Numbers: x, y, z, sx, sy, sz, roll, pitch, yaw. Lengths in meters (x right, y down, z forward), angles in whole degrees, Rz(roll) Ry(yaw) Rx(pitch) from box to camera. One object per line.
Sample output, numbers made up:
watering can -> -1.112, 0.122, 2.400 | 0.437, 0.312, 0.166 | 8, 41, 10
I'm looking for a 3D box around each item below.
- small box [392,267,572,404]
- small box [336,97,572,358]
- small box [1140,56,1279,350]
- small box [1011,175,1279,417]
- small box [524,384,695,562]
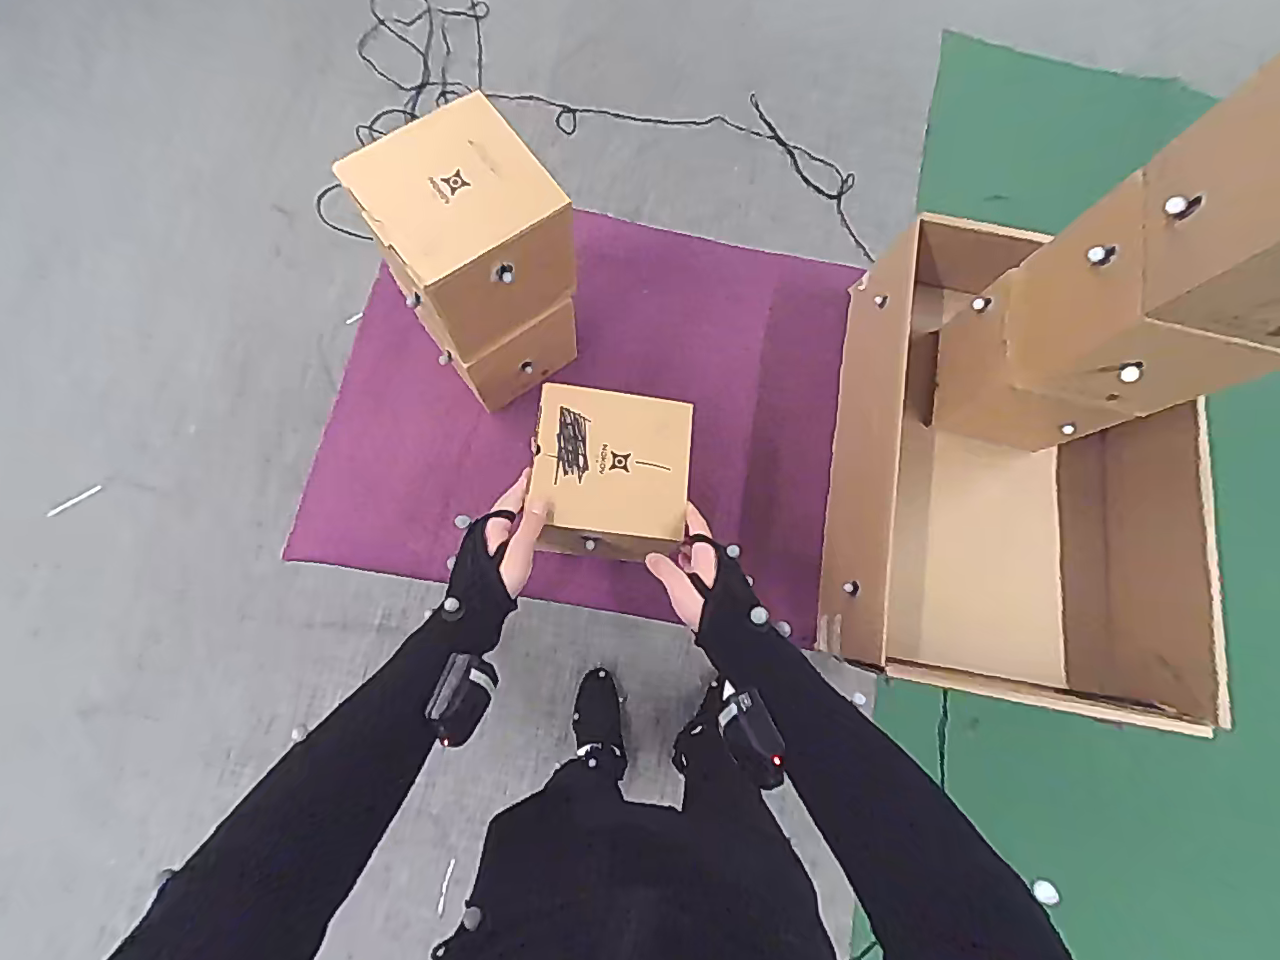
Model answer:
small box -> -0.209, -0.229, 0.770 | 0.168, 0.176, 0.179 | -36, 82, -12
small box -> -0.190, -0.270, 0.614 | 0.179, 0.176, 0.168 | -36, 83, -12
small box -> 0.559, -0.226, 0.437 | 0.168, 0.176, 0.179 | 13, 77, -1
small box -> 0.548, -0.187, 0.596 | 0.168, 0.176, 0.179 | 13, 76, 0
small box -> -0.042, 0.003, 0.668 | 0.179, 0.176, 0.168 | 8, 72, -8
